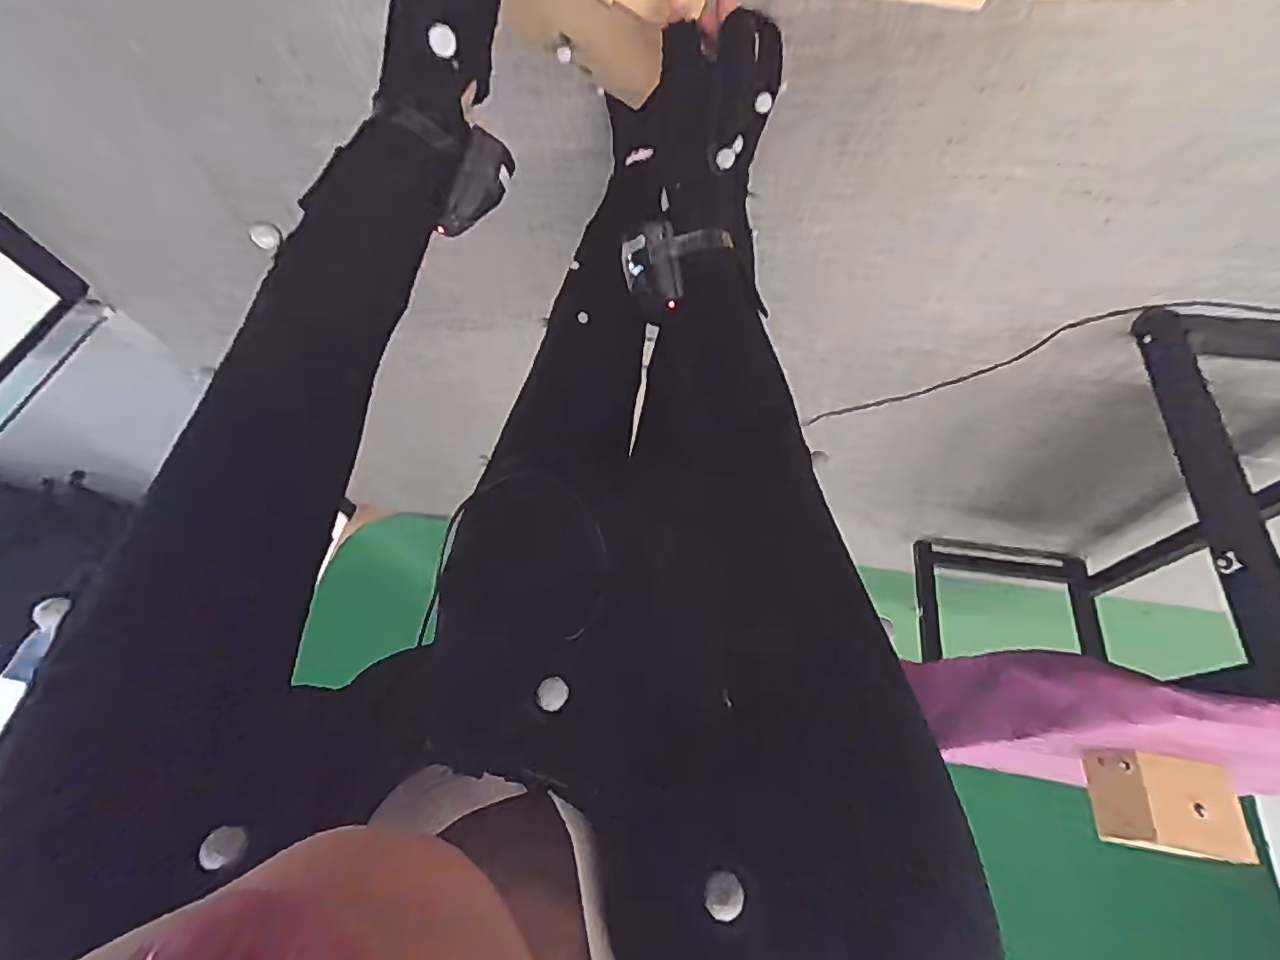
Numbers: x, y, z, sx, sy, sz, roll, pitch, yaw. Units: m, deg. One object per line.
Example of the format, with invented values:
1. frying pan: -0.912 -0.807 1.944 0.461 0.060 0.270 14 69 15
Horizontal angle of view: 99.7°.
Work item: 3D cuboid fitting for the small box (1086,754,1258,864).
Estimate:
1. small box: 1.083 0.674 1.124 0.179 0.176 0.168 7 151 7
